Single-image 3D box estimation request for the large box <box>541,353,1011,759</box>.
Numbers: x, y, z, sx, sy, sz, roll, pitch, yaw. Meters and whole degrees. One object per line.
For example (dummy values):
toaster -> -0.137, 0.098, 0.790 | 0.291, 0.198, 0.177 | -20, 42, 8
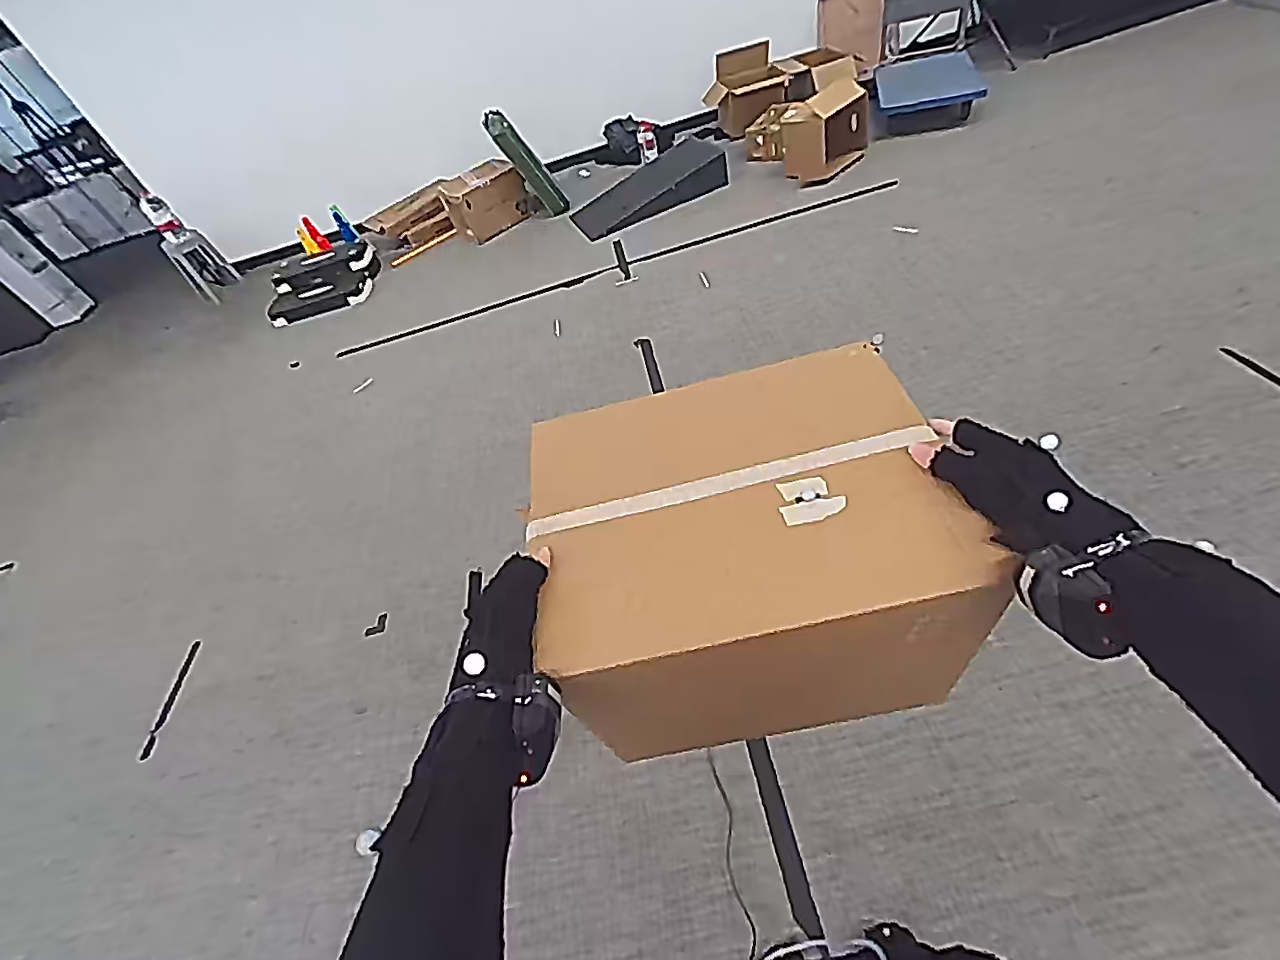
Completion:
large box -> 0.121, 0.103, 0.659 | 0.408, 0.320, 0.320 | -13, 50, 4
